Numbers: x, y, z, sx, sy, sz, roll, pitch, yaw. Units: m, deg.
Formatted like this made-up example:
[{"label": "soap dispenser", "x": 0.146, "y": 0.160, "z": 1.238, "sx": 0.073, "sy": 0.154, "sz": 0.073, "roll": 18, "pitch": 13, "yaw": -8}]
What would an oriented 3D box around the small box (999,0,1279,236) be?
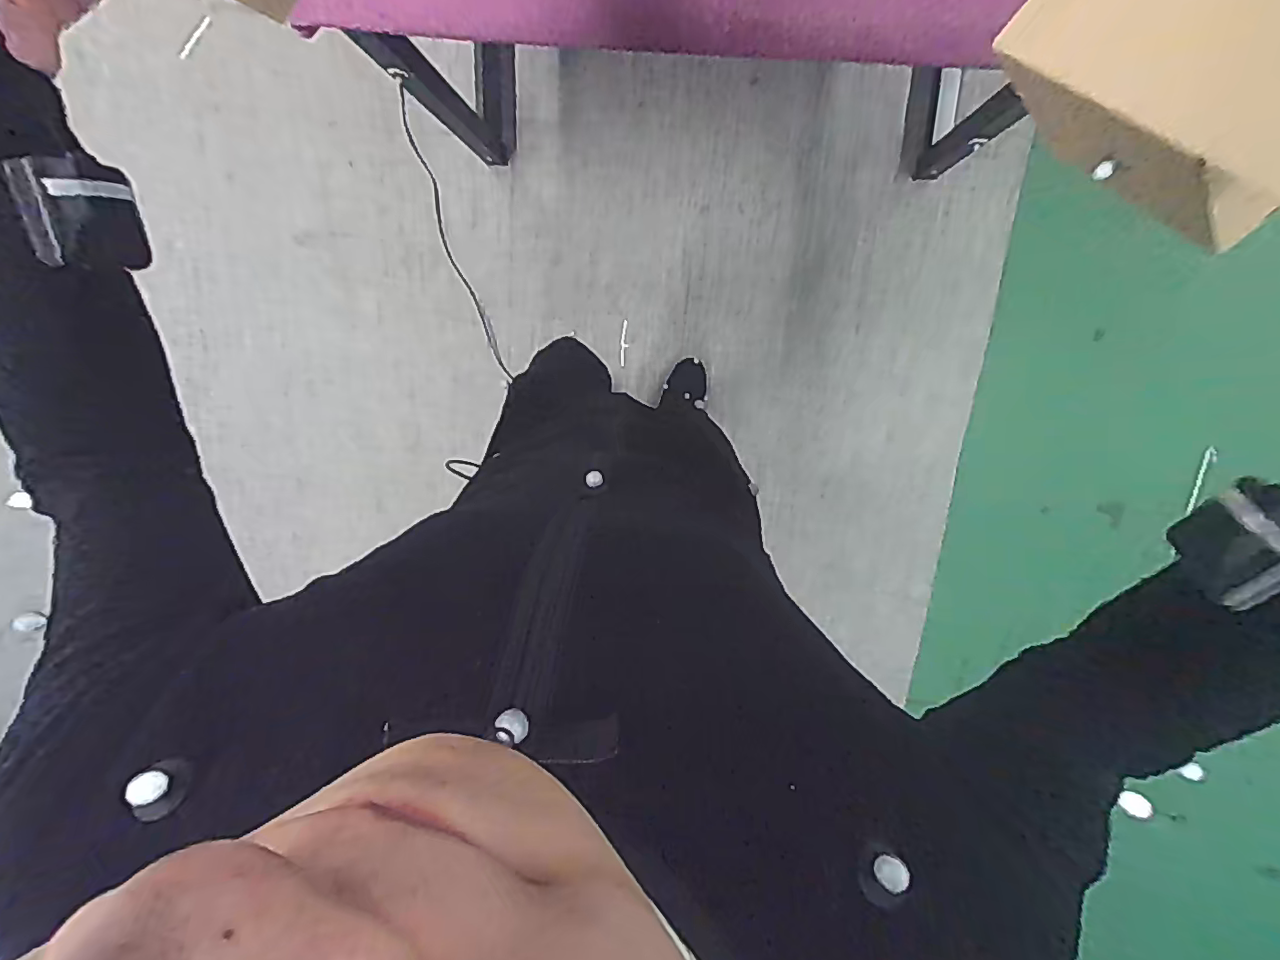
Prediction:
[{"label": "small box", "x": 0.375, "y": -0.295, "z": 0.335, "sx": 0.168, "sy": 0.179, "sz": 0.176, "roll": -50, "pitch": 50, "yaw": 35}]
